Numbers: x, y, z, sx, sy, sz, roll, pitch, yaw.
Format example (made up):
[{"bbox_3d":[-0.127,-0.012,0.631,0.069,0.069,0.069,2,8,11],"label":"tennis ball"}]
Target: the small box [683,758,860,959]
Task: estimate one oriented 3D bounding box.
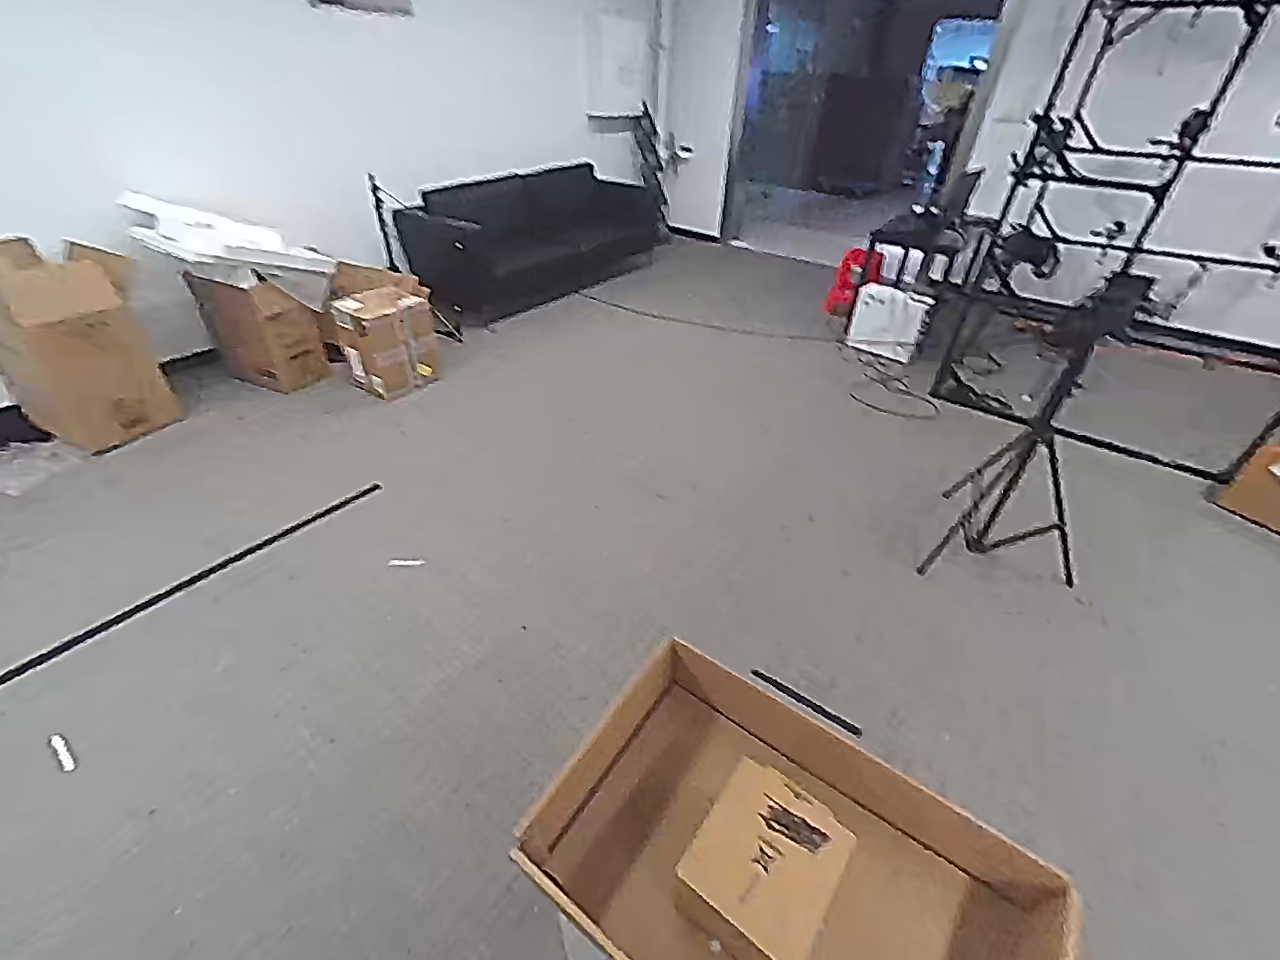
[{"bbox_3d":[0.167,0.527,0.727,0.168,0.176,0.179,26,49,28],"label":"small box"}]
